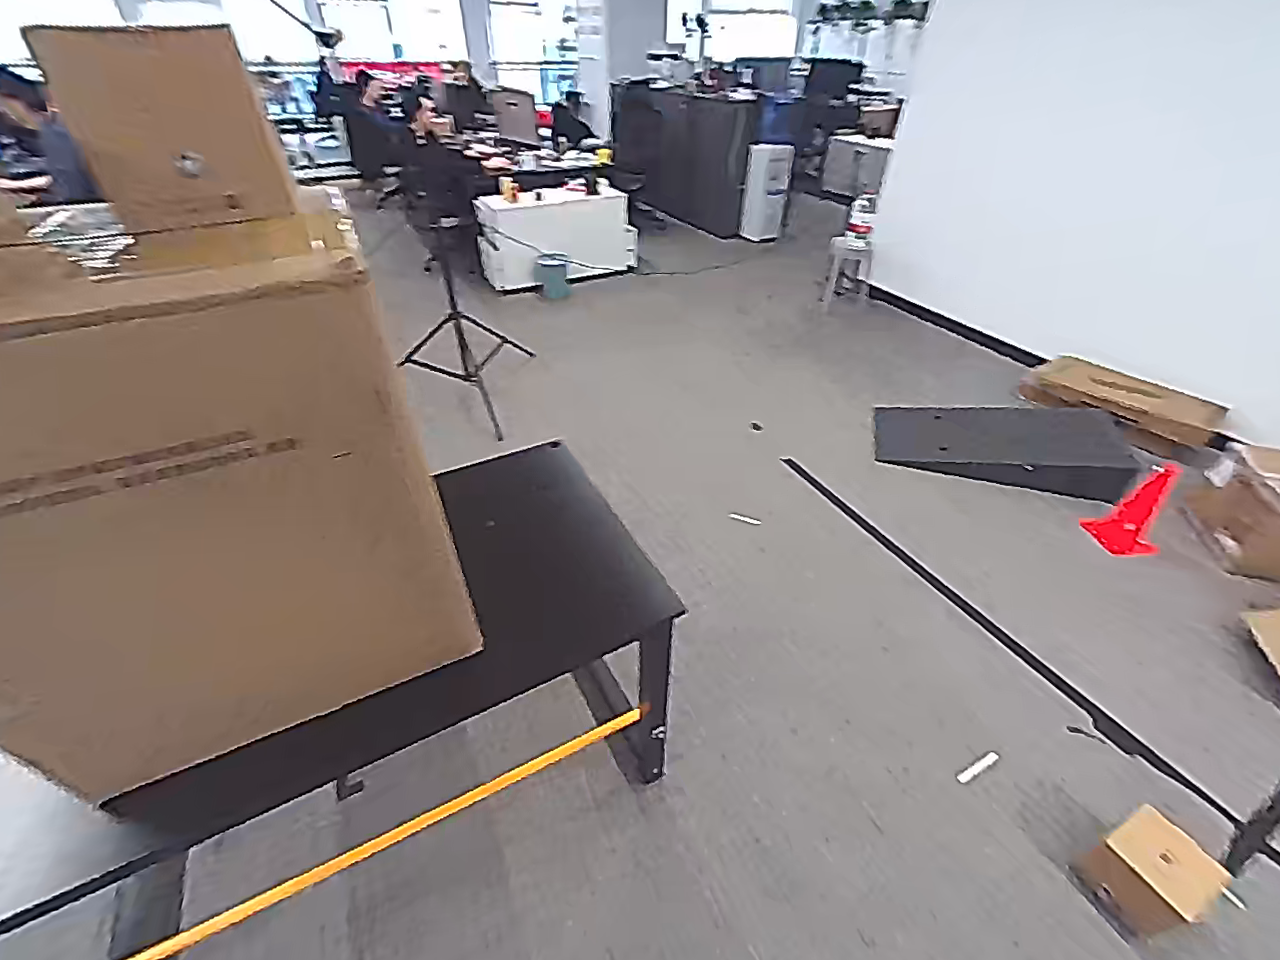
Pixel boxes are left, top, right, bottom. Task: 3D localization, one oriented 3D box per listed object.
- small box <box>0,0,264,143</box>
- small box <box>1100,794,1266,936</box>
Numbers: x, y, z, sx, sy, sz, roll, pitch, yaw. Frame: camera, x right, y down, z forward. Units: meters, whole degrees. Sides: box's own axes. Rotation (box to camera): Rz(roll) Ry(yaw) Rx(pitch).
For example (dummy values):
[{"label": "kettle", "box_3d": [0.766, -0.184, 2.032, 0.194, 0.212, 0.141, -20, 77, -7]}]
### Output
[{"label": "small box", "box_3d": [-0.482, -0.424, 0.508, 0.168, 0.176, 0.179, -20, 42, -22]}, {"label": "small box", "box_3d": [1.150, 0.824, 1.161, 0.179, 0.176, 0.168, -20, 43, -22]}]
